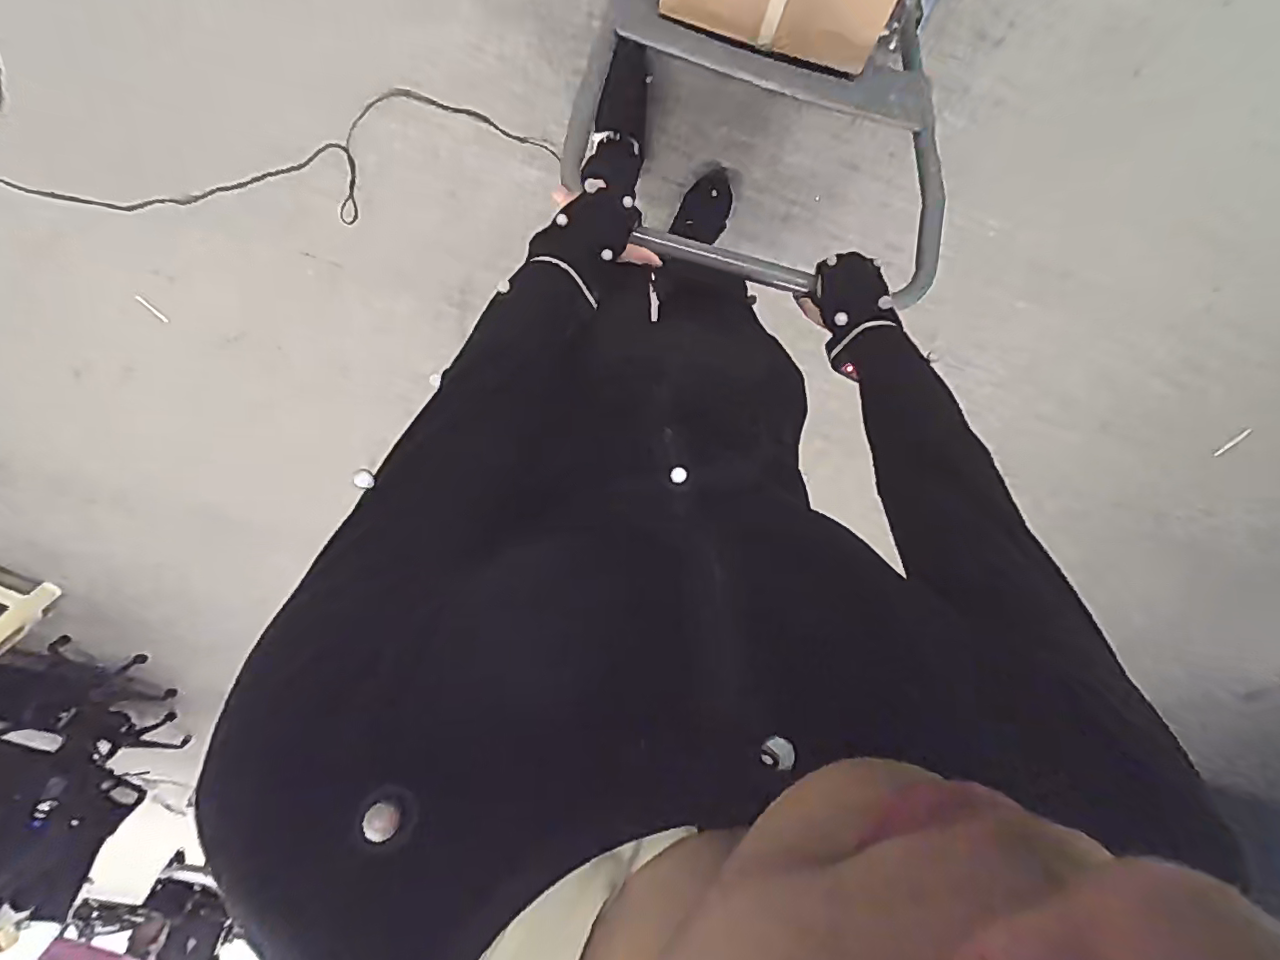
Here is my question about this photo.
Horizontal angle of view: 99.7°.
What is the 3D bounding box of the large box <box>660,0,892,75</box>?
[{"bbox_3d":[0.232,-0.858,0.704,0.320,0.320,0.408,12,149,-7],"label":"large box"}]
